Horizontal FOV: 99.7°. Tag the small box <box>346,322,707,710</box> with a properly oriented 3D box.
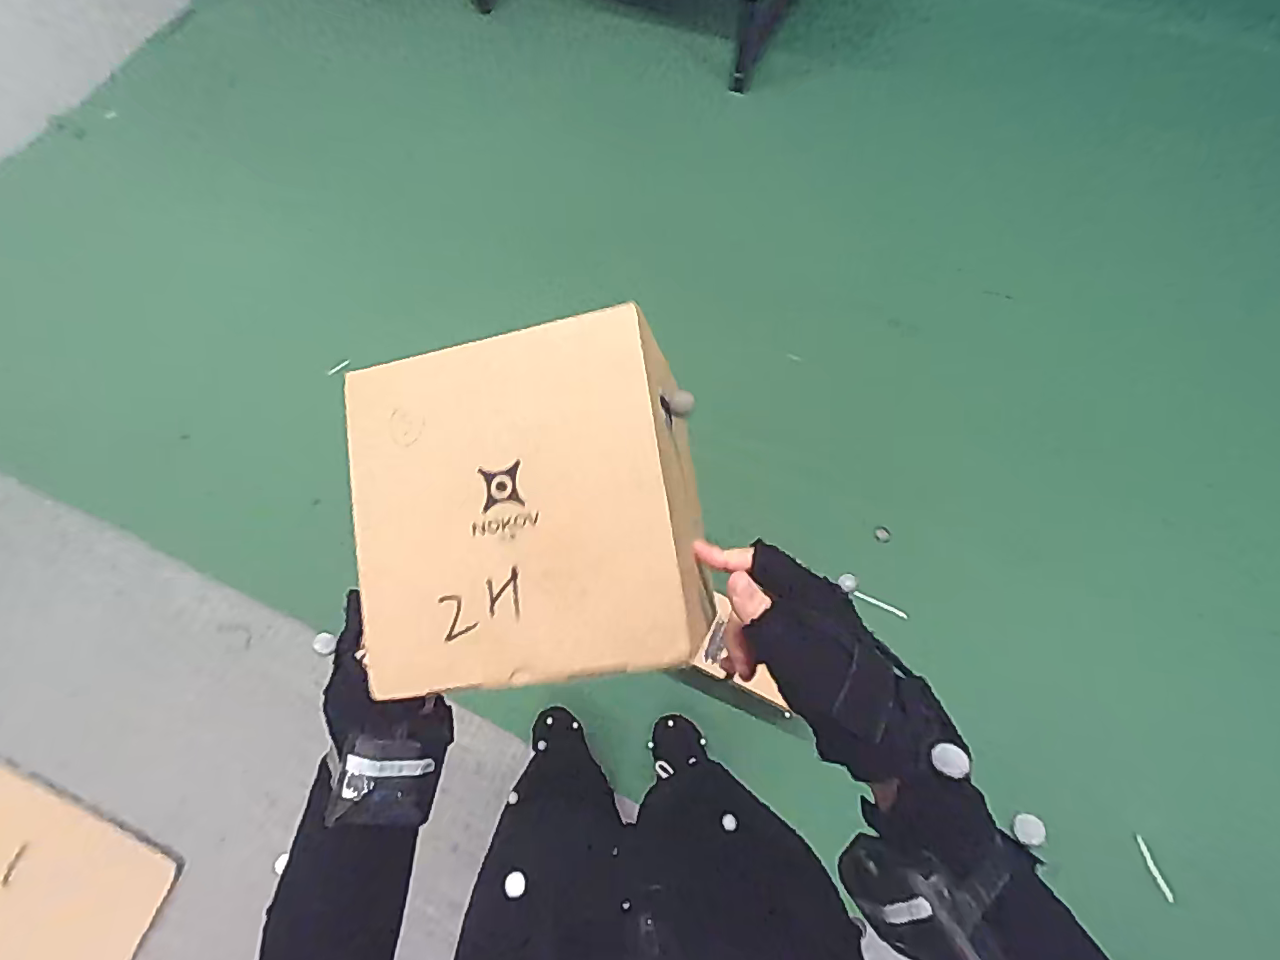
[{"bbox_3d":[-0.053,0.027,0.344,0.168,0.176,0.179,-9,83,10],"label":"small box"}]
